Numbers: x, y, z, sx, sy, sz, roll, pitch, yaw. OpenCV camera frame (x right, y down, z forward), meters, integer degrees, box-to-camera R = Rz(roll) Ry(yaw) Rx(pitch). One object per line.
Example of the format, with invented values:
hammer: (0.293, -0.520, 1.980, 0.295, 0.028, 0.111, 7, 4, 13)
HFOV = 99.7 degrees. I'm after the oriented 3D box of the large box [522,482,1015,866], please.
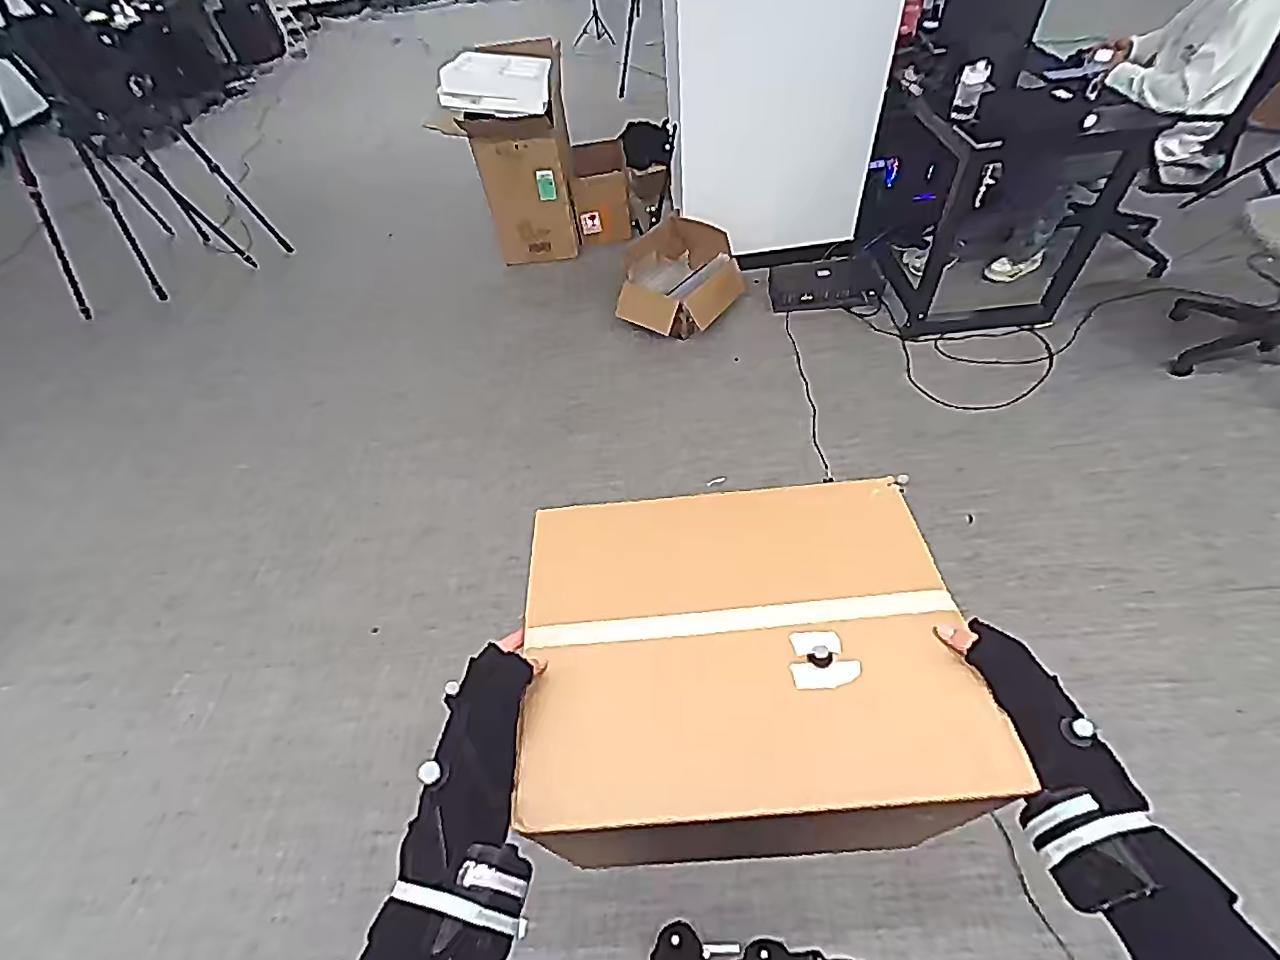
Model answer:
large box: (0.102, 0.234, 0.636, 0.408, 0.320, 0.320, -5, 50, 2)
